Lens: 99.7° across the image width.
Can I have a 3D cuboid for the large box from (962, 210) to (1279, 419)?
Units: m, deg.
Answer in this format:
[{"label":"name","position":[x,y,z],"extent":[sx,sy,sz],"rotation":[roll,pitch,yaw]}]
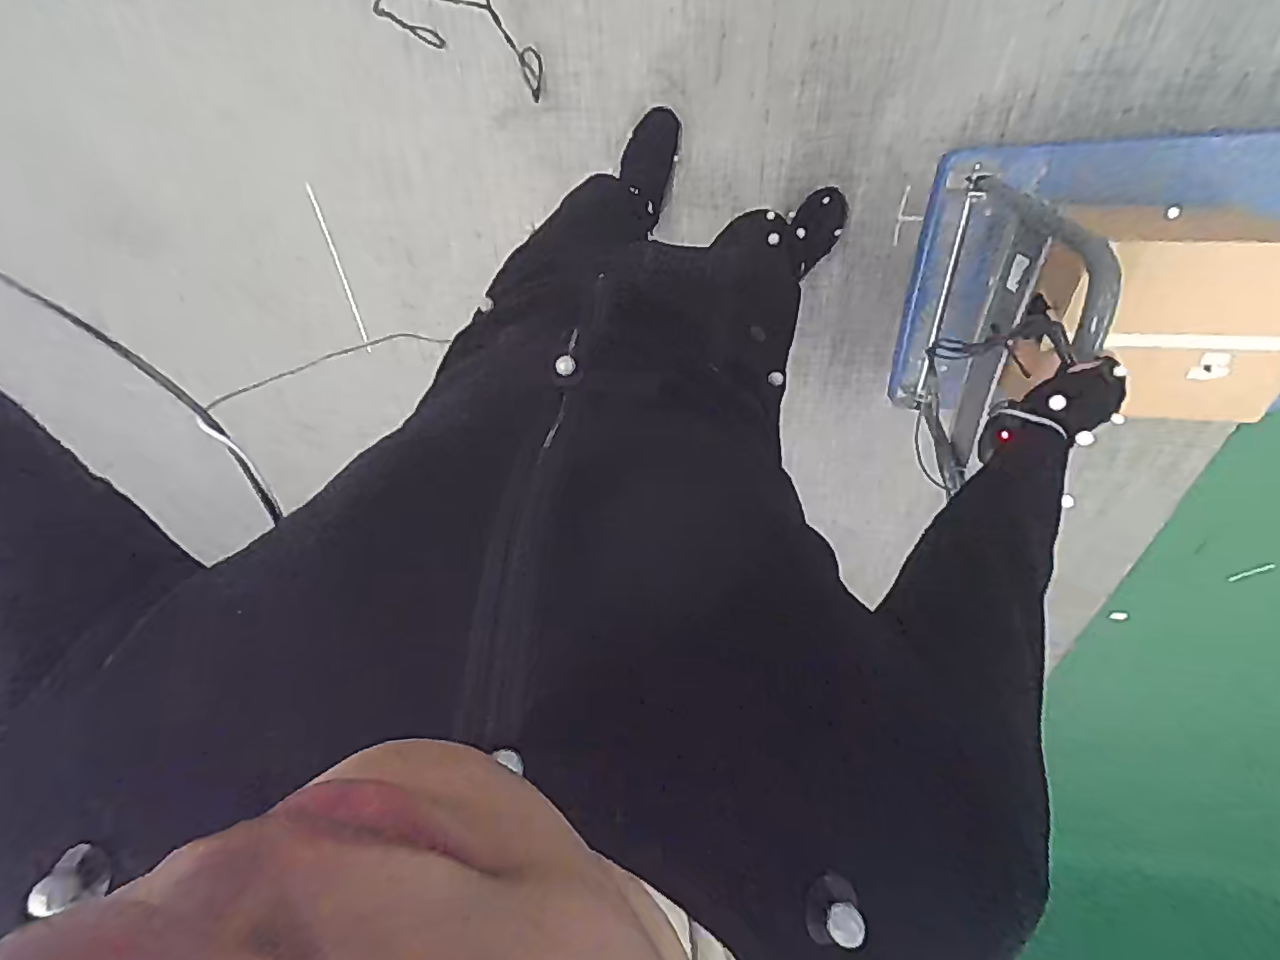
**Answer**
[{"label":"large box","position":[0.929,-0.333,1.052],"extent":[0.408,0.320,0.320],"rotation":[4,127,7]}]
